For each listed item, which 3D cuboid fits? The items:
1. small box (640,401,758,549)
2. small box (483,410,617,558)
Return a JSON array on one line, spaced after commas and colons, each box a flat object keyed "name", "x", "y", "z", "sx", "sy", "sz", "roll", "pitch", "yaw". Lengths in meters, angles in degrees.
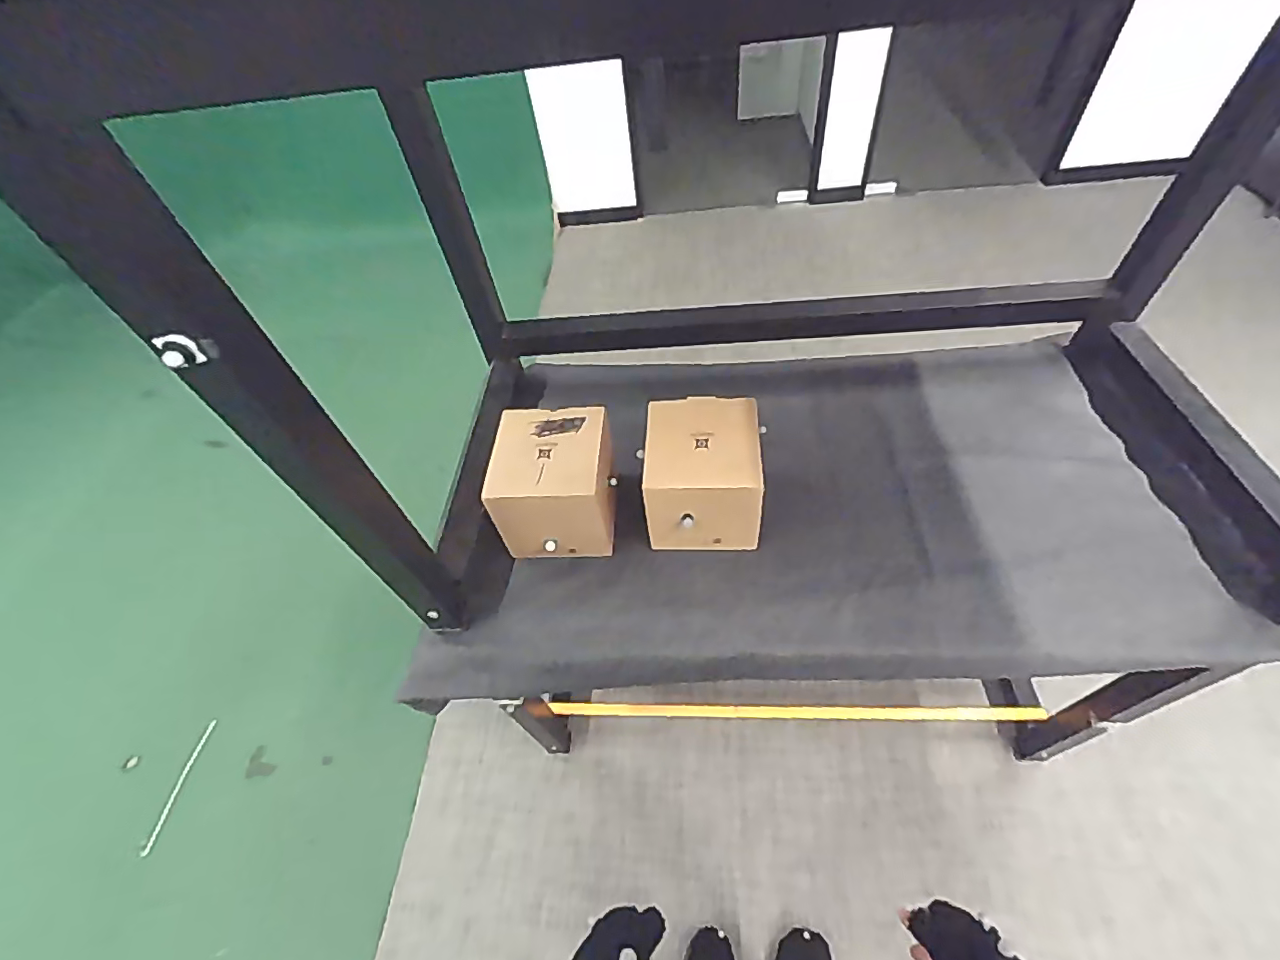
[{"name": "small box", "x": 0.095, "y": -0.003, "z": 0.852, "sx": 0.168, "sy": 0.176, "sz": 0.179, "roll": -1, "pitch": 51, "yaw": 7}, {"name": "small box", "x": -0.131, "y": 0.008, "z": 0.869, "sx": 0.168, "sy": 0.176, "sz": 0.179, "roll": -2, "pitch": 52, "yaw": 6}]
